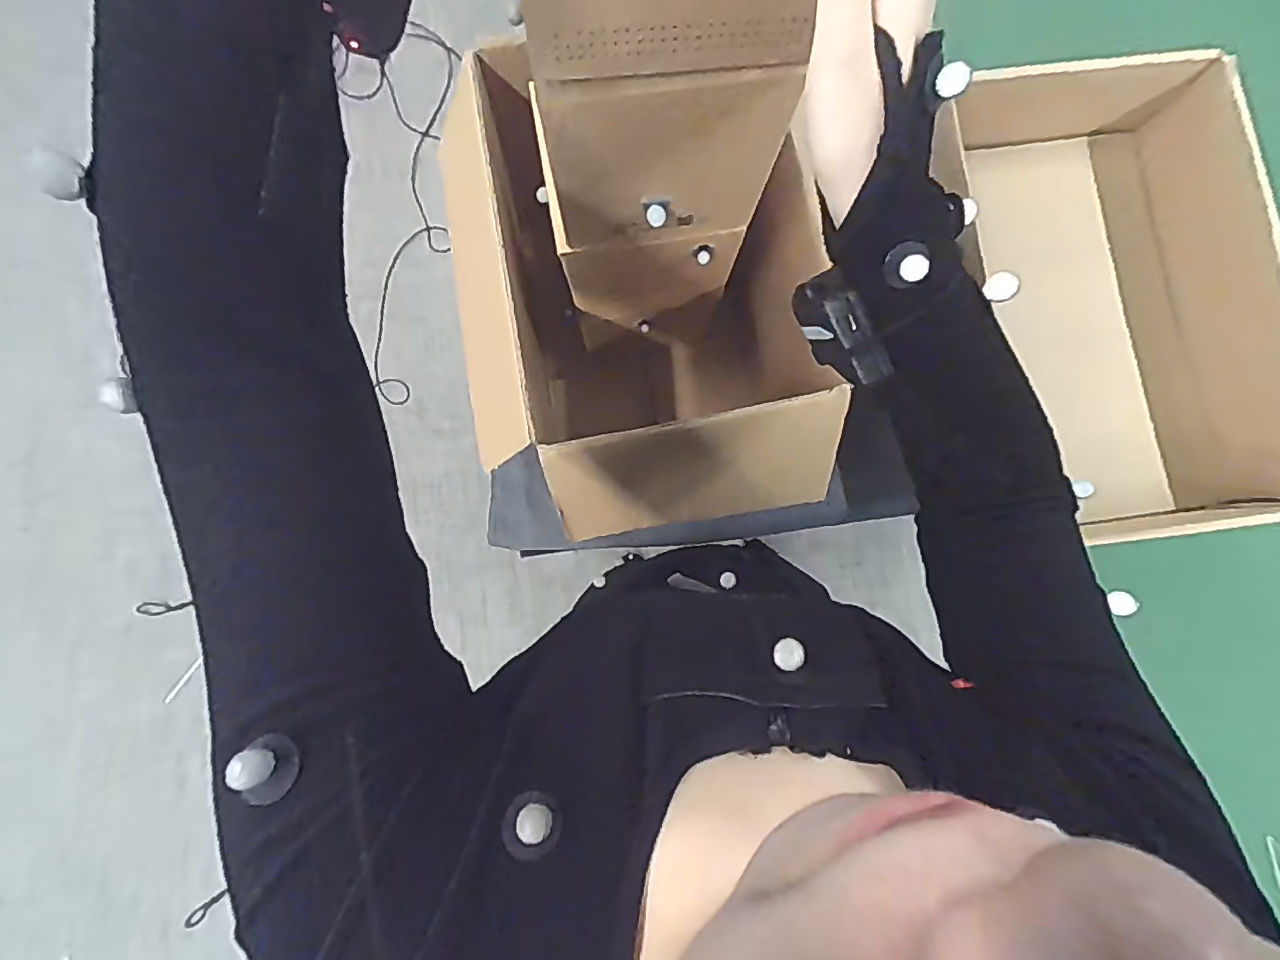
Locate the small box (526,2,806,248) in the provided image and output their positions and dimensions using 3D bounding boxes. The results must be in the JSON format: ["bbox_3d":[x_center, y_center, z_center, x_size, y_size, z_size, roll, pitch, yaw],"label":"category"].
[{"bbox_3d":[0.007,-0.305,0.408,0.168,0.176,0.179,-8,87,-2],"label":"small box"}]

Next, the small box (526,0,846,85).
[{"bbox_3d":[0.021,-0.319,0.243,0.179,0.176,0.168,-7,86,-1],"label":"small box"}]
